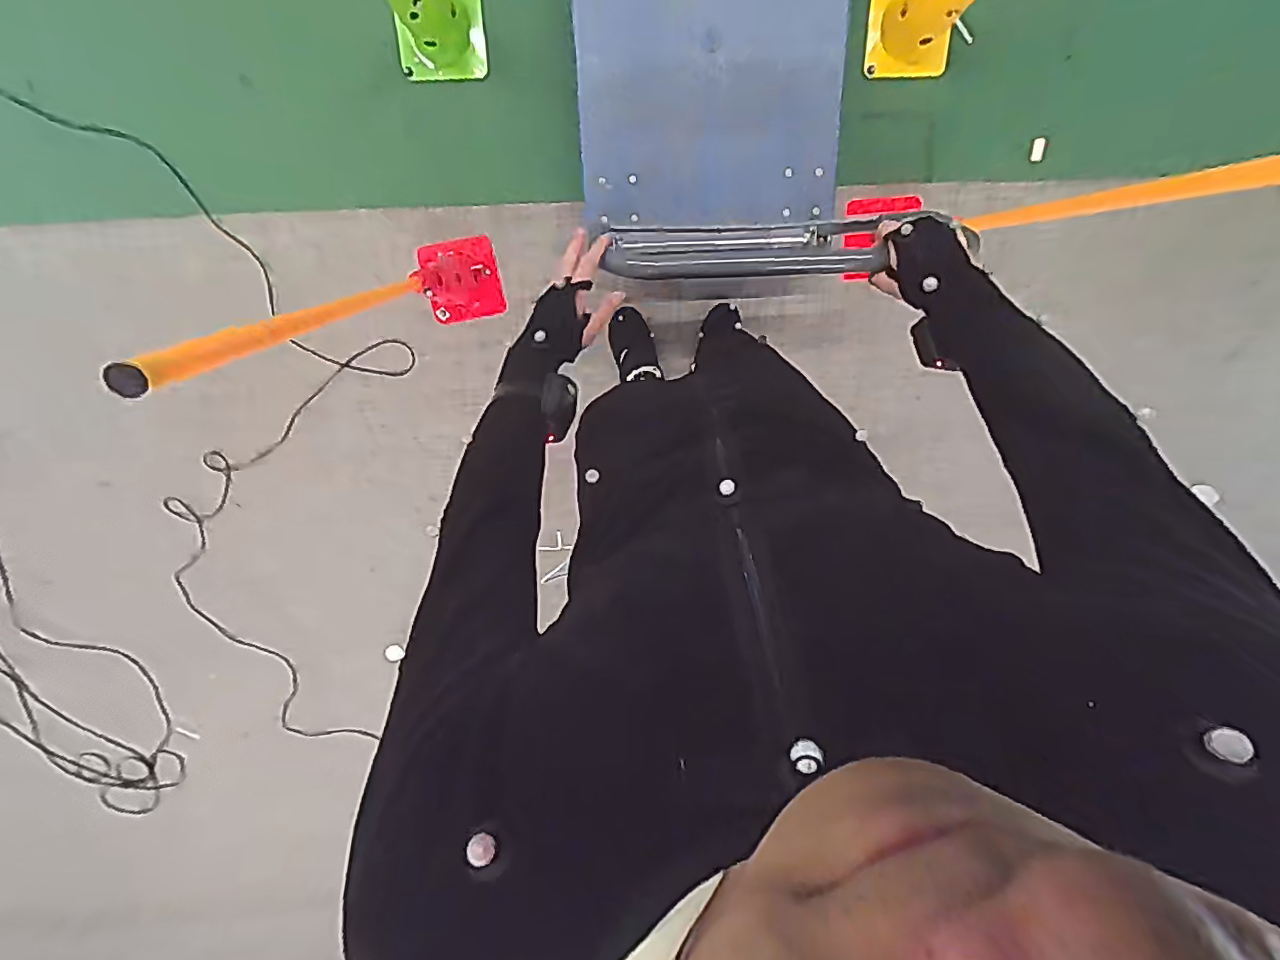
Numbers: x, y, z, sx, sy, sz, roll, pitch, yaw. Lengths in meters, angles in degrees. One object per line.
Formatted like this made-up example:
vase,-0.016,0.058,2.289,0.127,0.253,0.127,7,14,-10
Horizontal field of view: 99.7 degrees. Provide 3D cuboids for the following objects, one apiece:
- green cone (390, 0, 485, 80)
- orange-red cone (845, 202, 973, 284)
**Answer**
green cone,-0.456,-0.972,1.065,0.200,0.368,0.202,-2,109,0
orange-red cone,0.645,-0.564,1.254,0.198,0.360,0.199,-2,109,-2
